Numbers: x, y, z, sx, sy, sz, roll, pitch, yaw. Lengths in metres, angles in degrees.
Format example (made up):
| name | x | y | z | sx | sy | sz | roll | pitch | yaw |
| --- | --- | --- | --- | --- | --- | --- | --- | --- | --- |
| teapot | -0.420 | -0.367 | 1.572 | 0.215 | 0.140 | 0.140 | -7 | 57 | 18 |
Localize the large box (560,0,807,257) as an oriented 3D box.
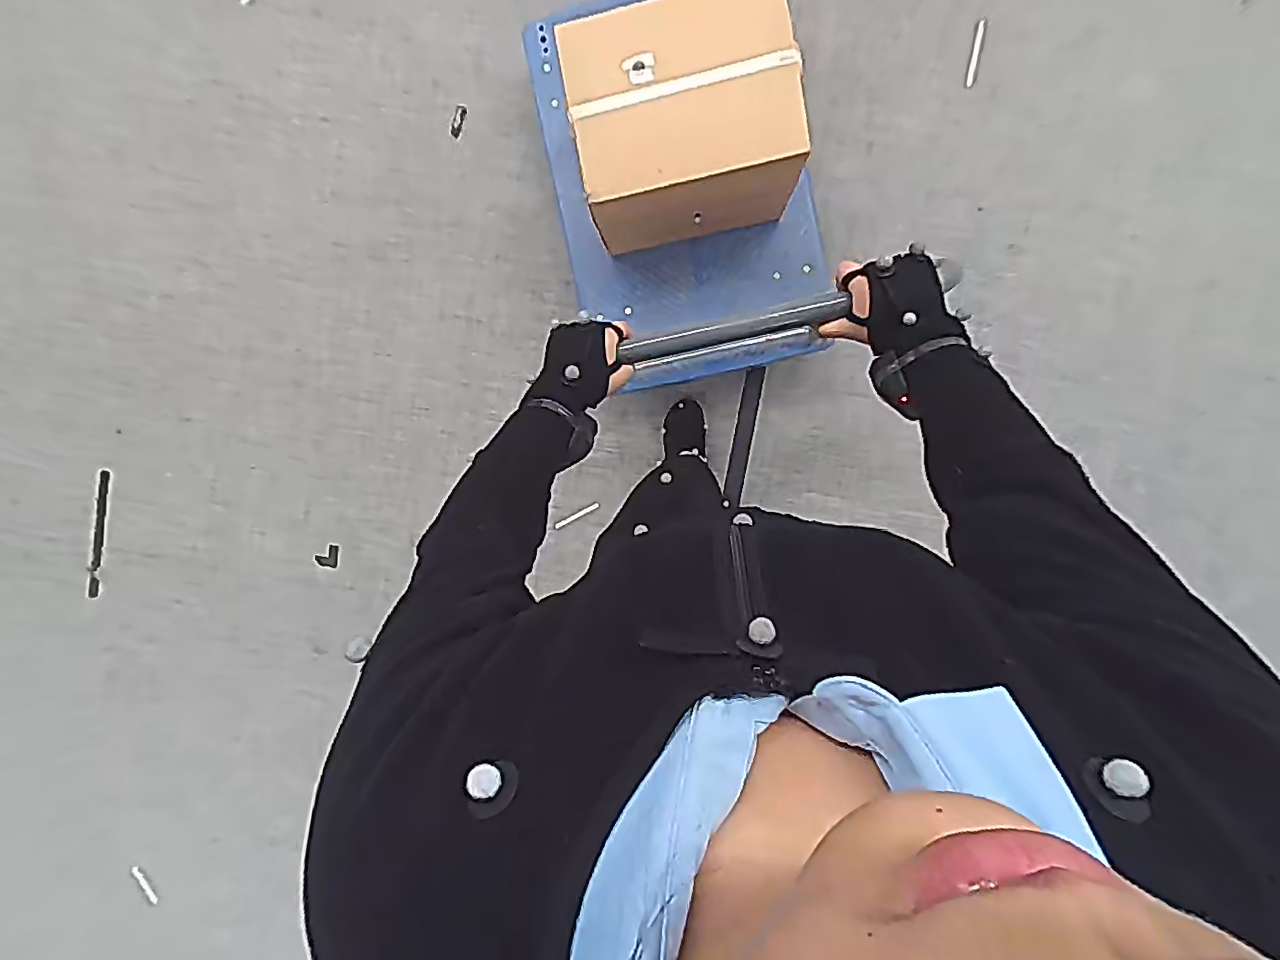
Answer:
| name | x | y | z | sx | sy | sz | roll | pitch | yaw |
| --- | --- | --- | --- | --- | --- | --- | --- | --- | --- |
| large box | 0.091 | -0.702 | 1.120 | 0.408 | 0.320 | 0.320 | -11 | 94 | 7 |
